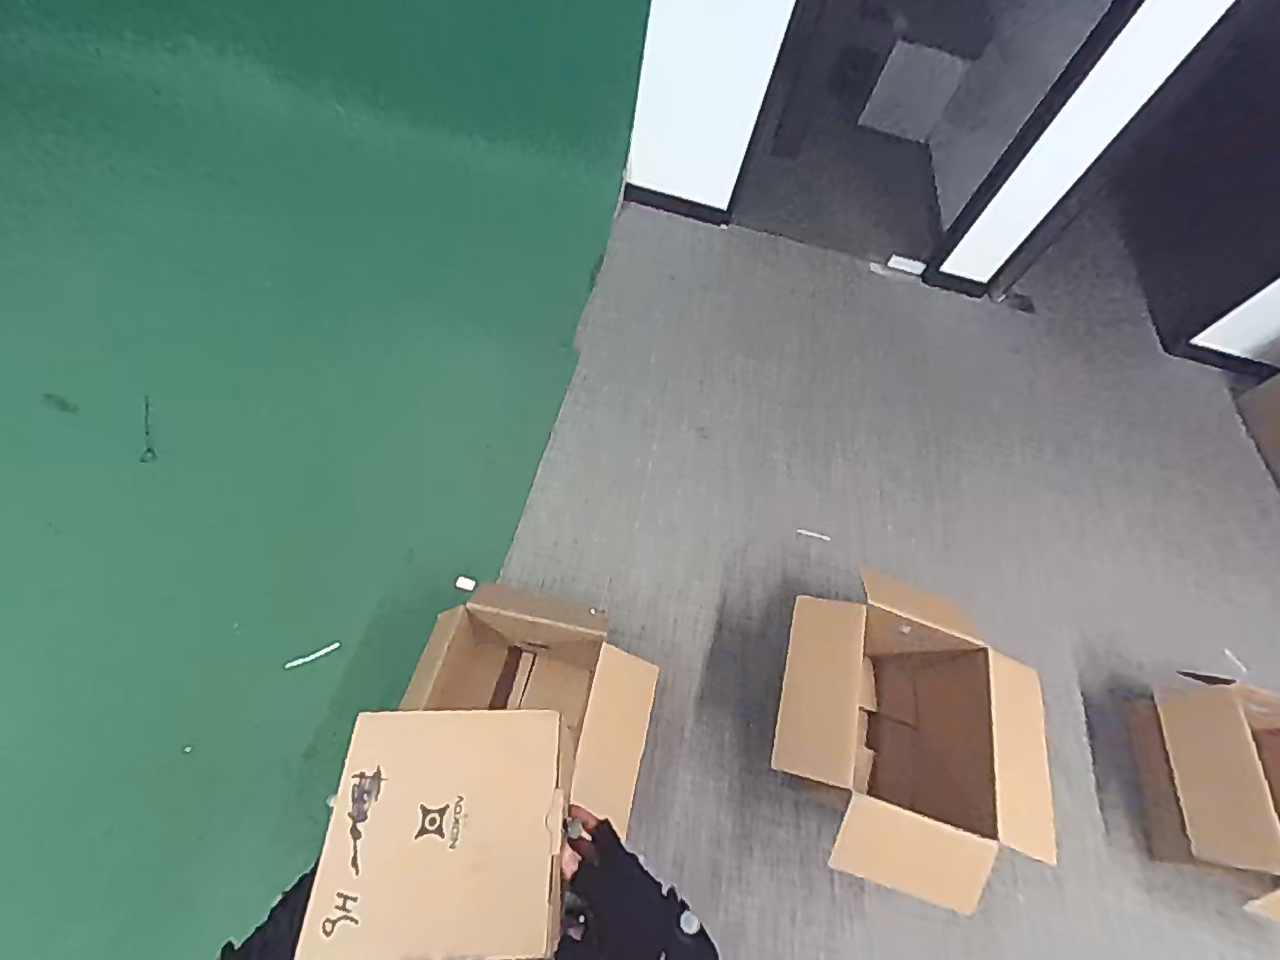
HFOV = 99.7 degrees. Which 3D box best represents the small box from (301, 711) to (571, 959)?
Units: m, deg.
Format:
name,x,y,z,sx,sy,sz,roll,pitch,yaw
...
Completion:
name,x,y,z,sx,sy,sz,roll,pitch,yaw
small box,-0.157,0.317,0.493,0.179,0.176,0.168,2,54,-3
